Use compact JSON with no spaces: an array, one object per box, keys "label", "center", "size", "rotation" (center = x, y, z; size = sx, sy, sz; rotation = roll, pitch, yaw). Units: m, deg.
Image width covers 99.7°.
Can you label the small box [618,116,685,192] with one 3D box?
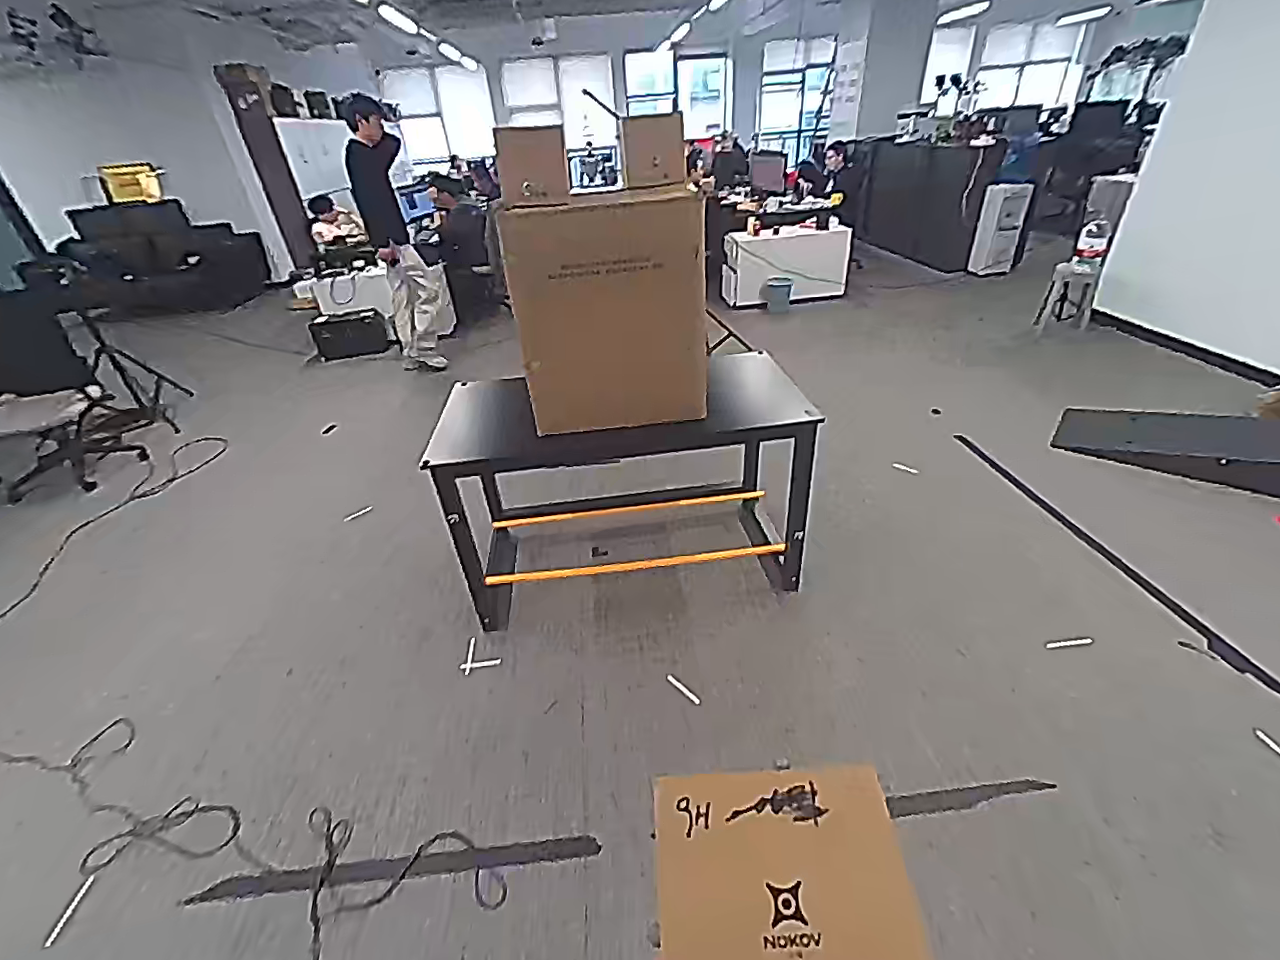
[{"label":"small box","center":[0.031,-0.916,1.528],"size":[0.168,0.176,0.179],"rotation":[-8,31,-3]}]

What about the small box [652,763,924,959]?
[{"label":"small box","center":[0.100,0.332,0.410],"size":[0.168,0.176,0.179],"rotation":[-5,49,3]}]

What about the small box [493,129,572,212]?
[{"label":"small box","center":[-0.263,-0.777,1.357],"size":[0.168,0.176,0.179],"rotation":[-6,35,-4]}]
